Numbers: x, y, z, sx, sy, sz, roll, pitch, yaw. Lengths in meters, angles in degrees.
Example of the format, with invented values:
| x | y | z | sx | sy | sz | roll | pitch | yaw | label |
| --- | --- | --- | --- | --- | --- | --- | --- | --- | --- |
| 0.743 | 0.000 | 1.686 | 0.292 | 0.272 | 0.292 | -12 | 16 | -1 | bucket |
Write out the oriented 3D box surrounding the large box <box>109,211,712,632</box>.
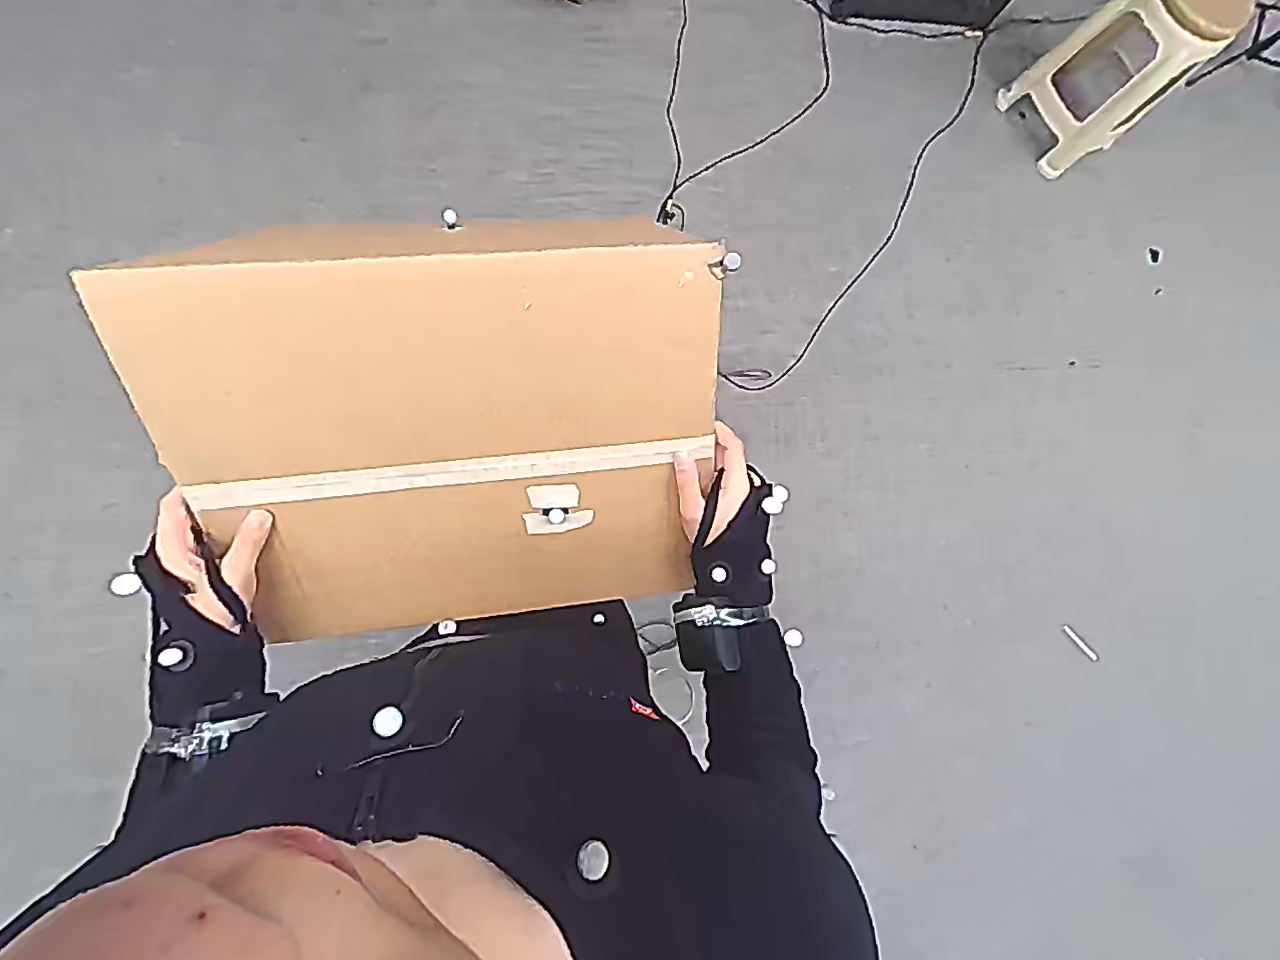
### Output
| x | y | z | sx | sy | sz | roll | pitch | yaw | label |
| --- | --- | --- | --- | --- | --- | --- | --- | --- | --- |
| -0.165 | -0.092 | 0.567 | 0.408 | 0.320 | 0.320 | -8 | 122 | -9 | large box |
